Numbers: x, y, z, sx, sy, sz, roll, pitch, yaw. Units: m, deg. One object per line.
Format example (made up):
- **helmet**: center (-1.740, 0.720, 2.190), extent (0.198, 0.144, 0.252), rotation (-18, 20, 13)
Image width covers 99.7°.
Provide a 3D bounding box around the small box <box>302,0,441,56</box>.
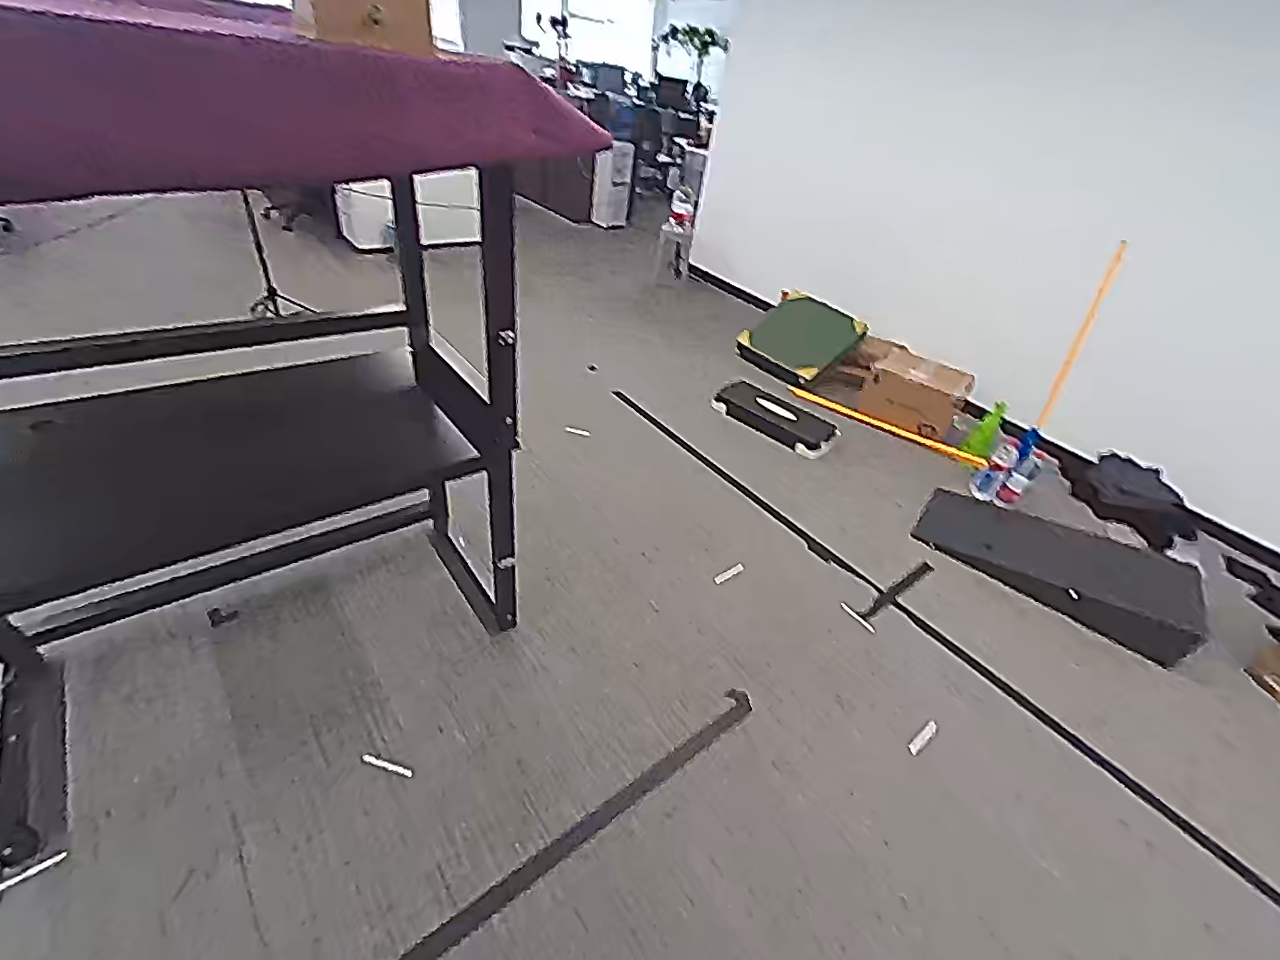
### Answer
- **small box**: center (-0.416, -0.763, 0.826), extent (0.179, 0.176, 0.168), rotation (-18, 44, -31)
